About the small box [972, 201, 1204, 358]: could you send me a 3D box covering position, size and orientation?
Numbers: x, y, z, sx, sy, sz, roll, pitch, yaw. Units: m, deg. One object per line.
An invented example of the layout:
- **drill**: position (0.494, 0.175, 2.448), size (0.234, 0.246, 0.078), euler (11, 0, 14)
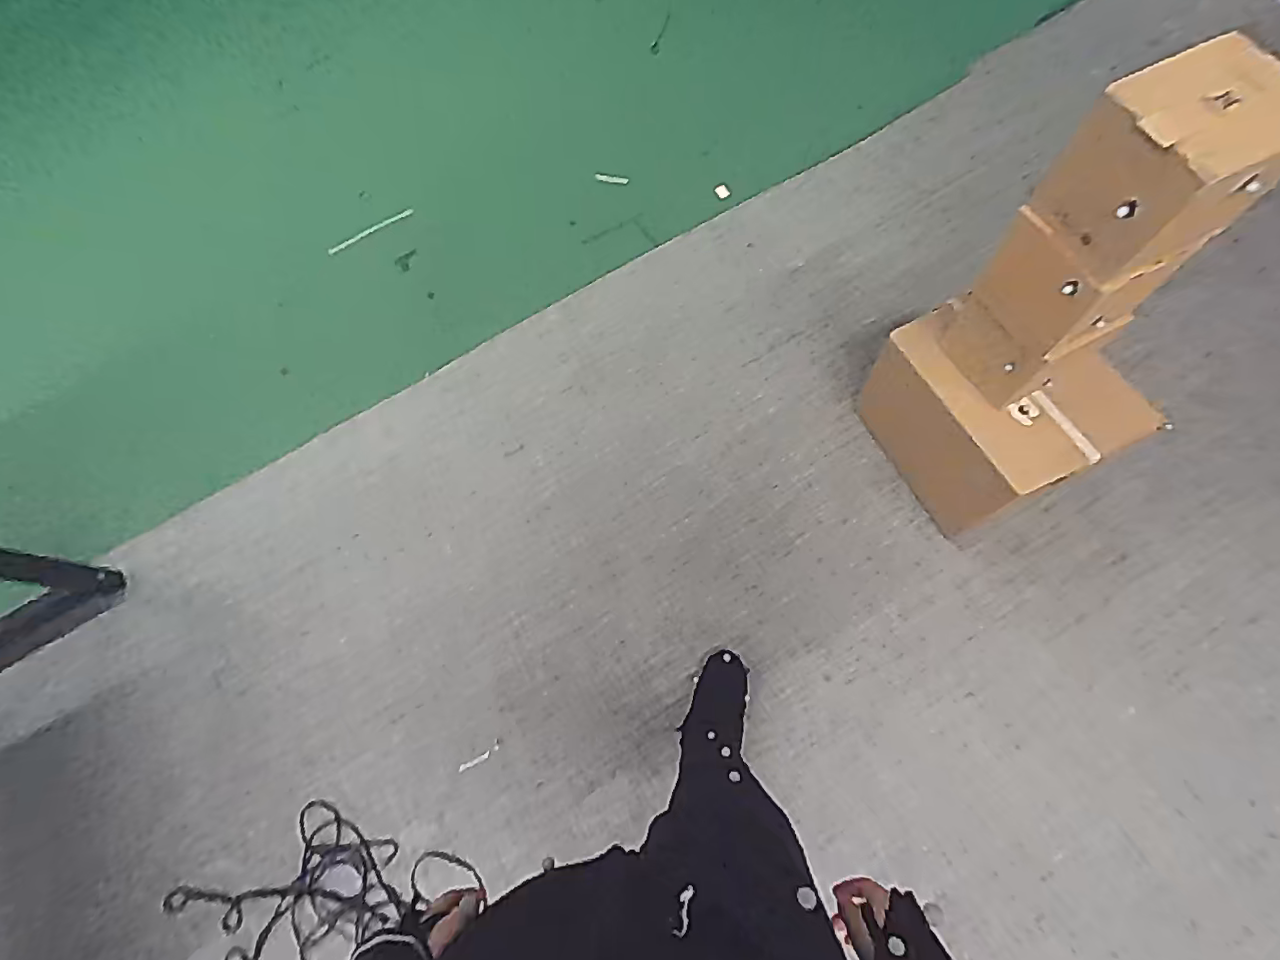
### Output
- **small box**: position (0.658, -0.322, 0.825), size (0.168, 0.176, 0.179), euler (-27, 69, -4)

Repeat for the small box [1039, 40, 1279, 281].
- **small box**: position (0.650, -0.385, 0.675), size (0.179, 0.176, 0.168), euler (-24, 70, -4)

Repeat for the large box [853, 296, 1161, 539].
- **large box**: position (0.744, -0.140, 1.183), size (0.320, 0.320, 0.408), euler (-26, 69, -2)
